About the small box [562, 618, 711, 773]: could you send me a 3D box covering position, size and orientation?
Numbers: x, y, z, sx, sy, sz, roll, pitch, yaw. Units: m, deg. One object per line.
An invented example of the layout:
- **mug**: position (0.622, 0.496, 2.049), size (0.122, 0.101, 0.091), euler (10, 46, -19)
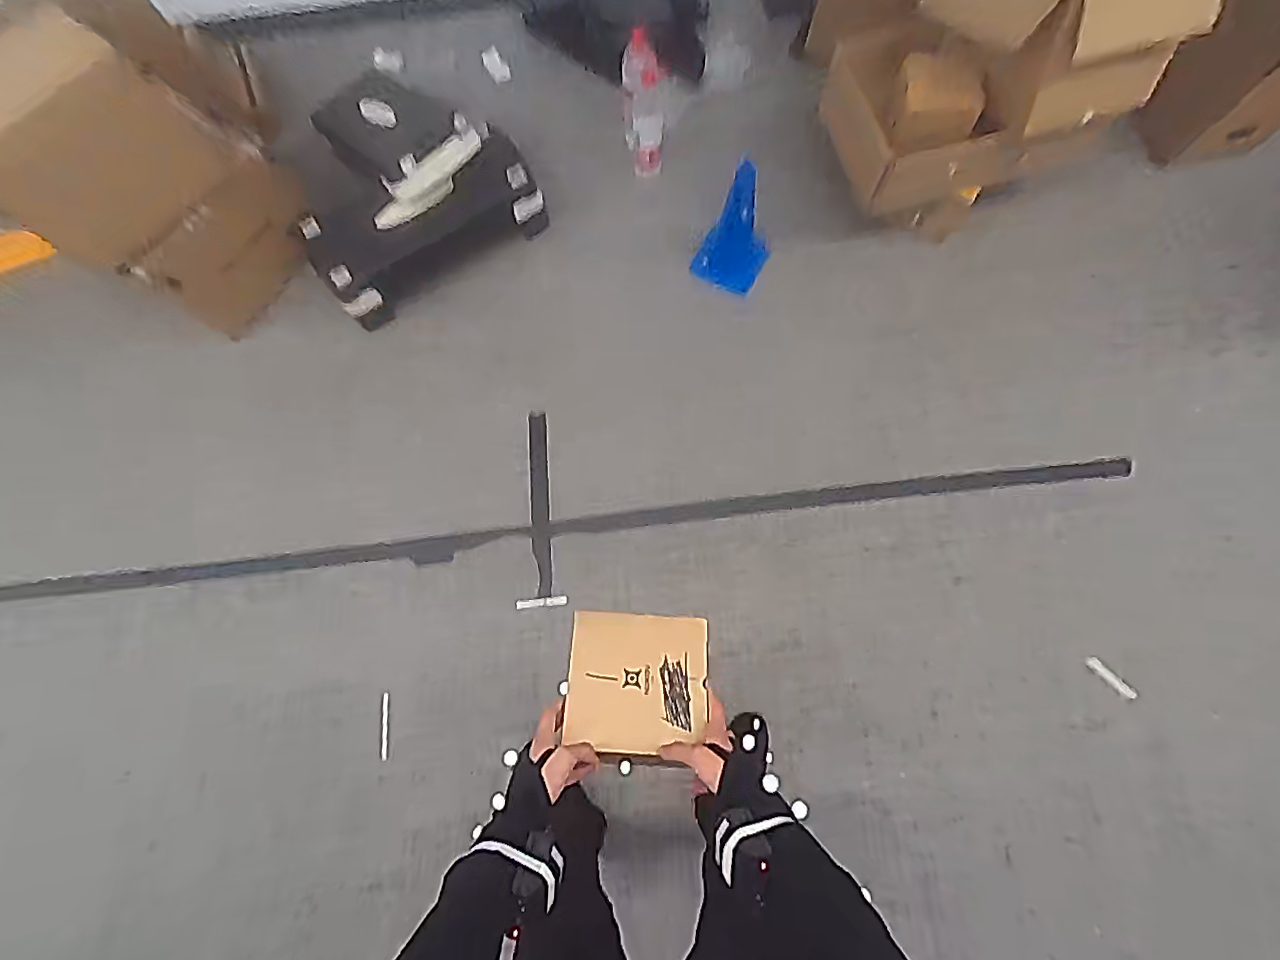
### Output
- **small box**: position (-0.004, 0.298, 0.736), size (0.179, 0.176, 0.168), euler (3, 58, -1)
